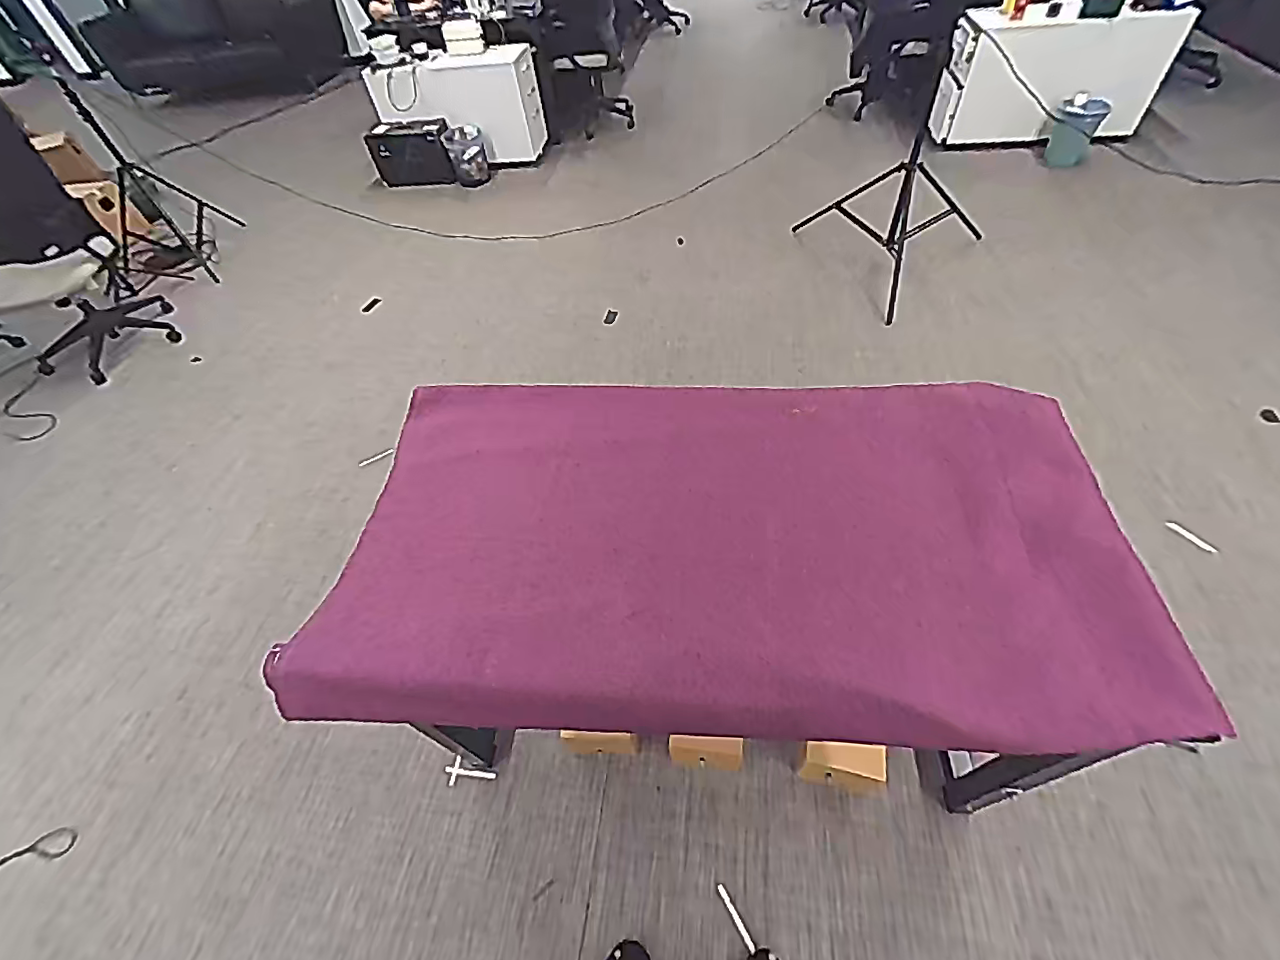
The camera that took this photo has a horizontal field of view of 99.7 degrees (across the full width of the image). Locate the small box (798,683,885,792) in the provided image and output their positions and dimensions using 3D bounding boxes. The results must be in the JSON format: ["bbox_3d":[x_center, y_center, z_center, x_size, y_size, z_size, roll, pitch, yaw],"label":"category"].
[{"bbox_3d":[0.469,0.607,1.270,0.168,0.176,0.179,9,52,14],"label":"small box"}]

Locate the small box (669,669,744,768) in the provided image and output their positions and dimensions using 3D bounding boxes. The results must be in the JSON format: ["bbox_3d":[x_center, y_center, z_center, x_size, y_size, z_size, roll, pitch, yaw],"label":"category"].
[{"bbox_3d":[0.165,0.586,1.319,0.168,0.176,0.179,4,51,9],"label":"small box"}]
